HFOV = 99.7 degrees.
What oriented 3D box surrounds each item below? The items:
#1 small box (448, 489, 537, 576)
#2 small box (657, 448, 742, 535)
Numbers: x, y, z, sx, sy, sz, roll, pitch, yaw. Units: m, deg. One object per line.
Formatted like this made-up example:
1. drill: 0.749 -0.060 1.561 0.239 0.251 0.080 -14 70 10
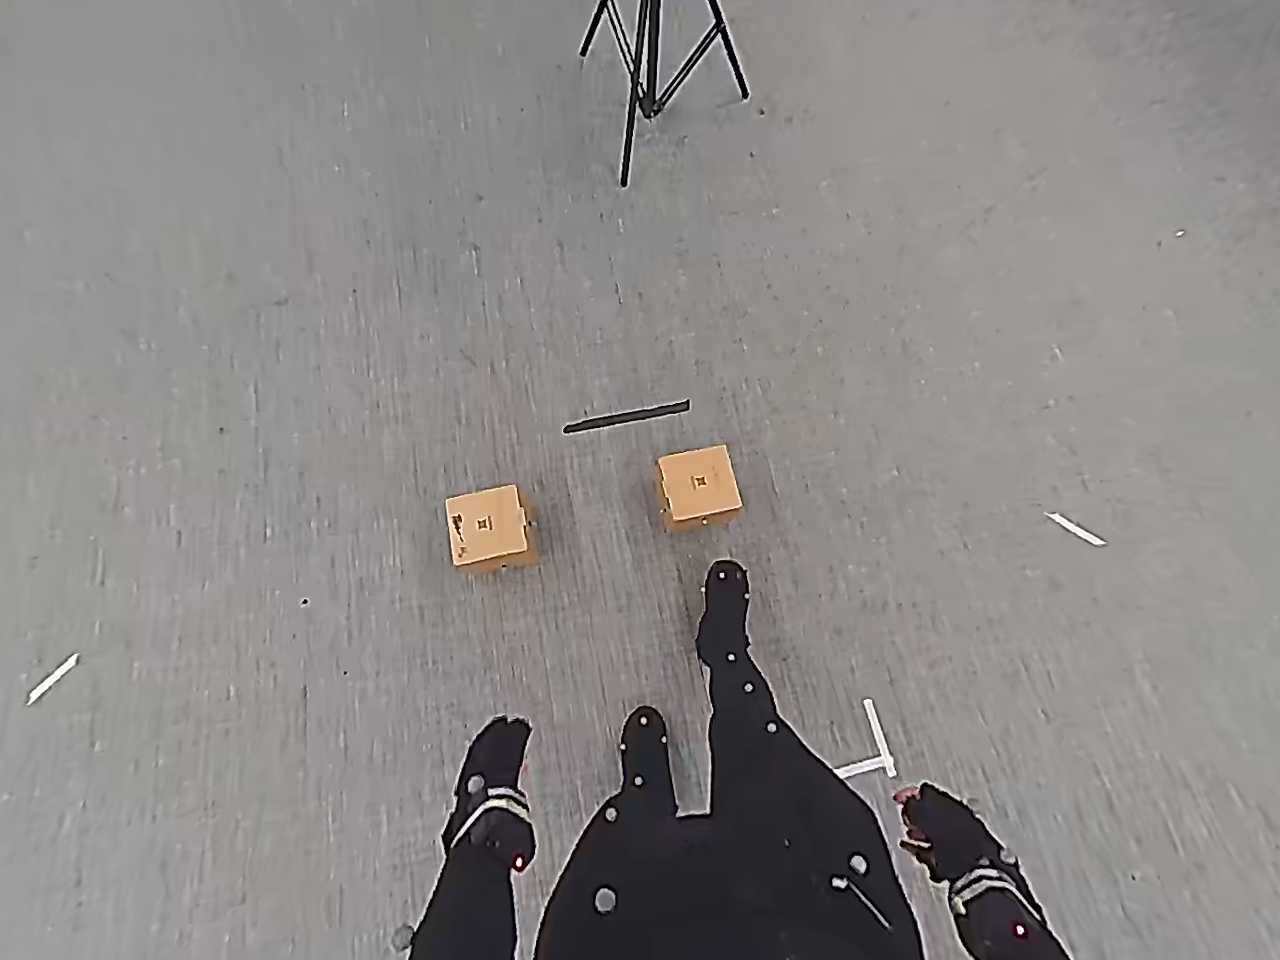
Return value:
1. small box: -0.358 0.135 1.344 0.179 0.176 0.168 -12 73 -5
2. small box: 0.142 0.035 1.385 0.179 0.176 0.168 -11 75 -6
